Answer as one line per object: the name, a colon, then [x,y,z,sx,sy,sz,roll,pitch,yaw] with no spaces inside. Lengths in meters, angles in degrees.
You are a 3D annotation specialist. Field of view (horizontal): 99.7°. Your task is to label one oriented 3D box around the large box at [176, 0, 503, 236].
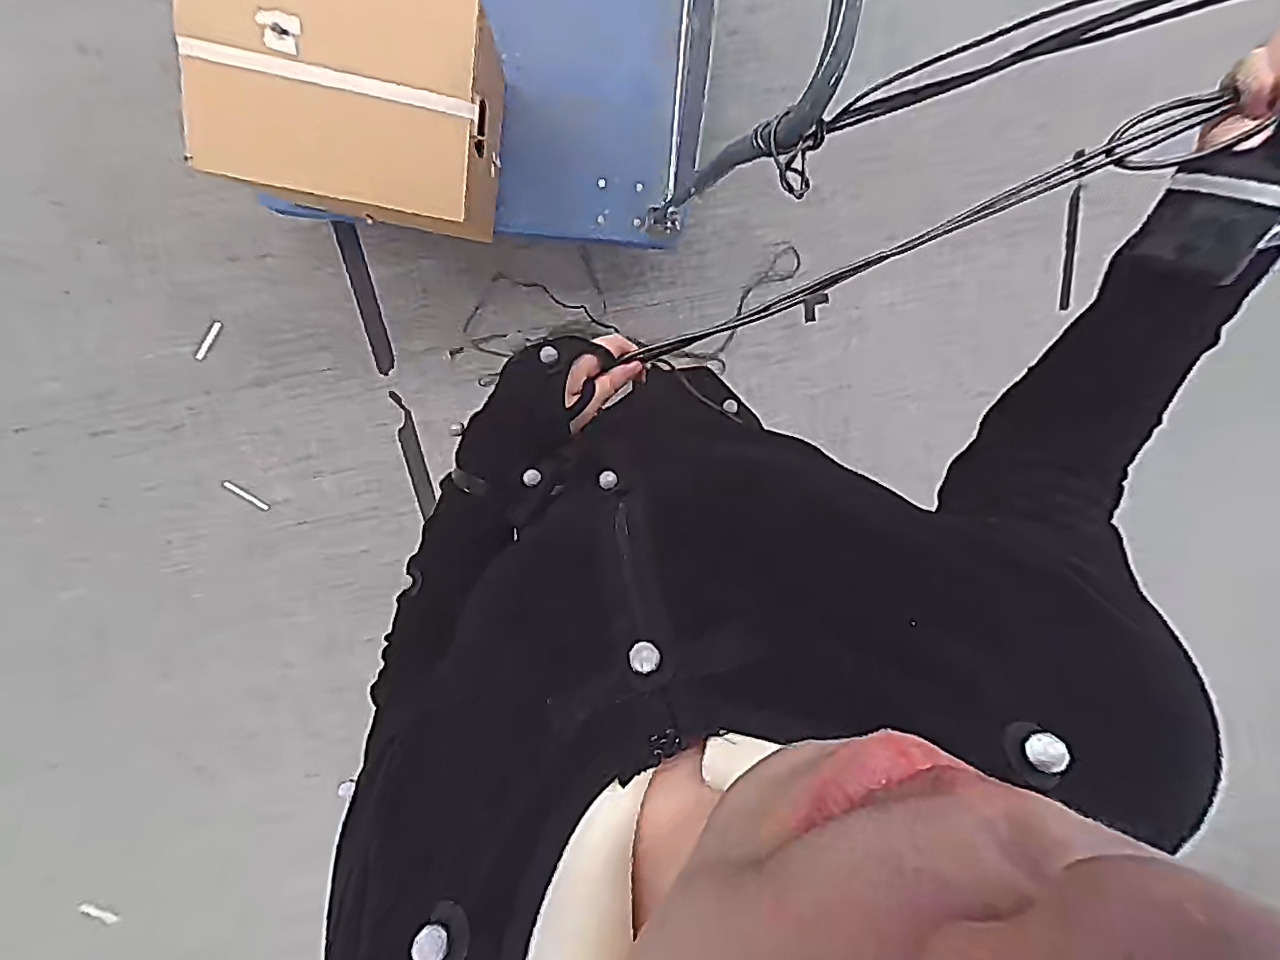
large box: [-0.464,-0.626,0.927,0.408,0.320,0.320,7,106,-8]
